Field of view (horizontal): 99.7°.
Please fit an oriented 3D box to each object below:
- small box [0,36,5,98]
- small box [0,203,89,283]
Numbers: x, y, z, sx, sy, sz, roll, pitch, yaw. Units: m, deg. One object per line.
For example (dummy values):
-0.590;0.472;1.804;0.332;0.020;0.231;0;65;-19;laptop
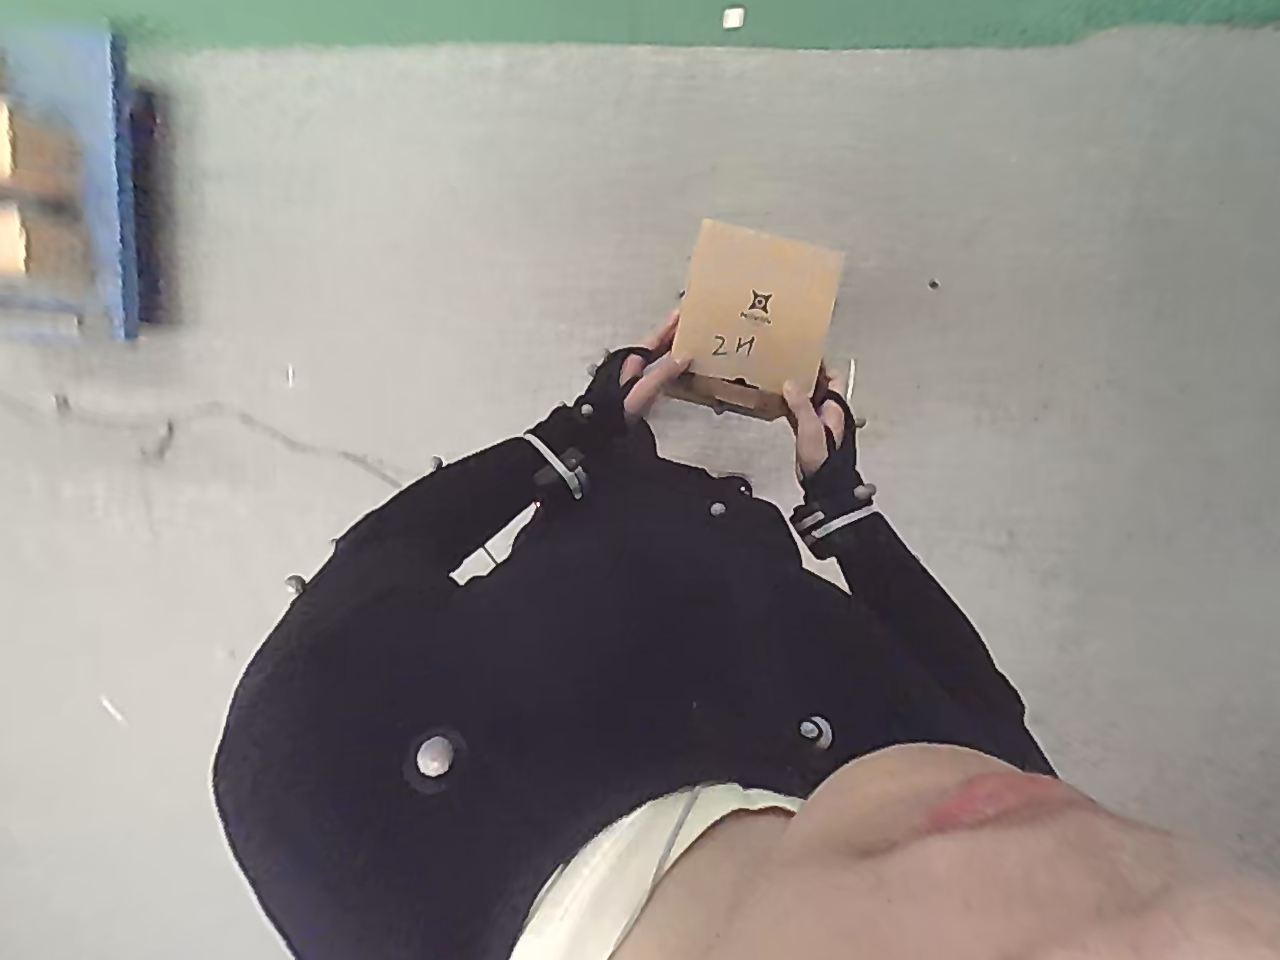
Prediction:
-1.866;-1.159;1.442;0.168;0.176;0.179;8;98;4;small box
-1.669;-0.645;1.480;0.179;0.176;0.168;3;97;5;small box
